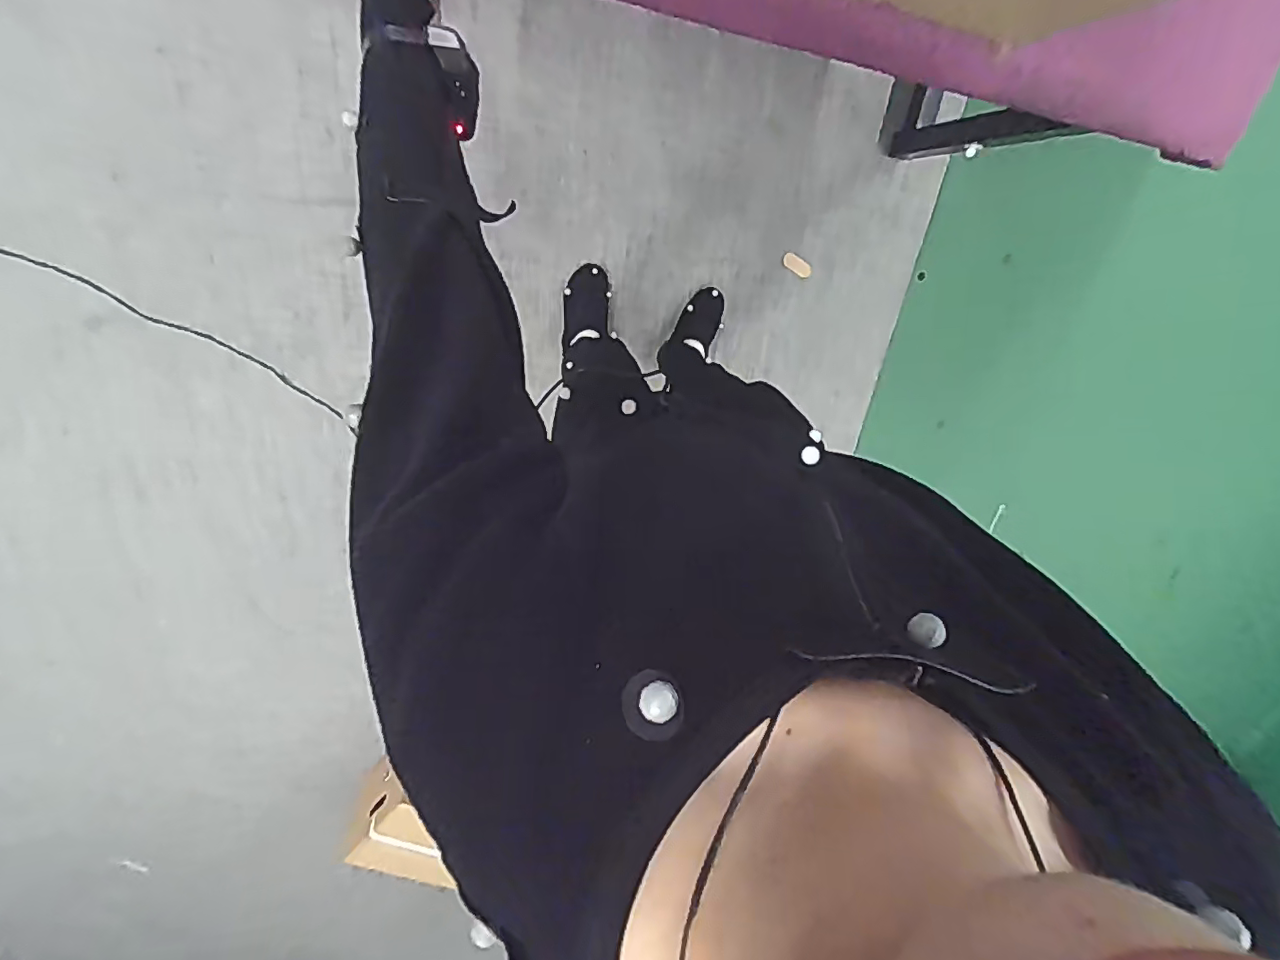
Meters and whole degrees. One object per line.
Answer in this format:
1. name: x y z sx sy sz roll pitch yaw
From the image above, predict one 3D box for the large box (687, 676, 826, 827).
1. large box: 0.414 0.977 1.974 0.408 0.320 0.320 -11 117 -8
